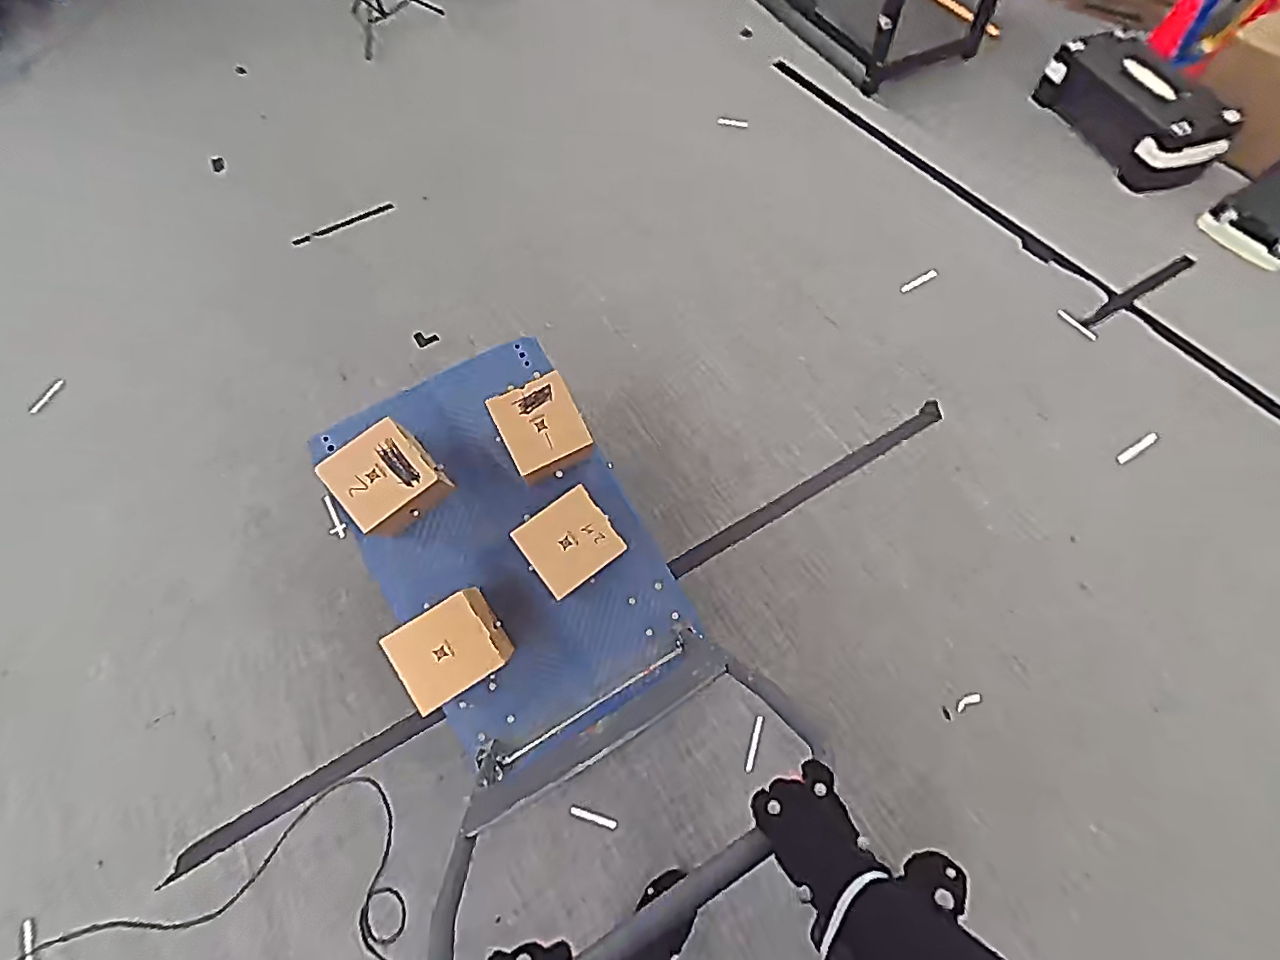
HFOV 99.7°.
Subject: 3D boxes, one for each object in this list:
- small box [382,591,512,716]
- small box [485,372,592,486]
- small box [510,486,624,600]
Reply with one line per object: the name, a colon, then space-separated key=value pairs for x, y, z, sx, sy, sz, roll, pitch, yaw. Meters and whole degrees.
small box: x=-0.379 y=0.342 z=1.098 sx=0.179 sy=0.176 sz=0.168 roll=-33 pitch=85 yaw=-12
small box: x=-0.219 y=-0.104 z=1.189 sx=0.168 sy=0.176 sz=0.179 roll=-27 pitch=86 yaw=-10
small box: x=-0.152 y=0.137 z=1.158 sx=0.179 sy=0.176 sz=0.168 roll=-37 pitch=87 yaw=-11
